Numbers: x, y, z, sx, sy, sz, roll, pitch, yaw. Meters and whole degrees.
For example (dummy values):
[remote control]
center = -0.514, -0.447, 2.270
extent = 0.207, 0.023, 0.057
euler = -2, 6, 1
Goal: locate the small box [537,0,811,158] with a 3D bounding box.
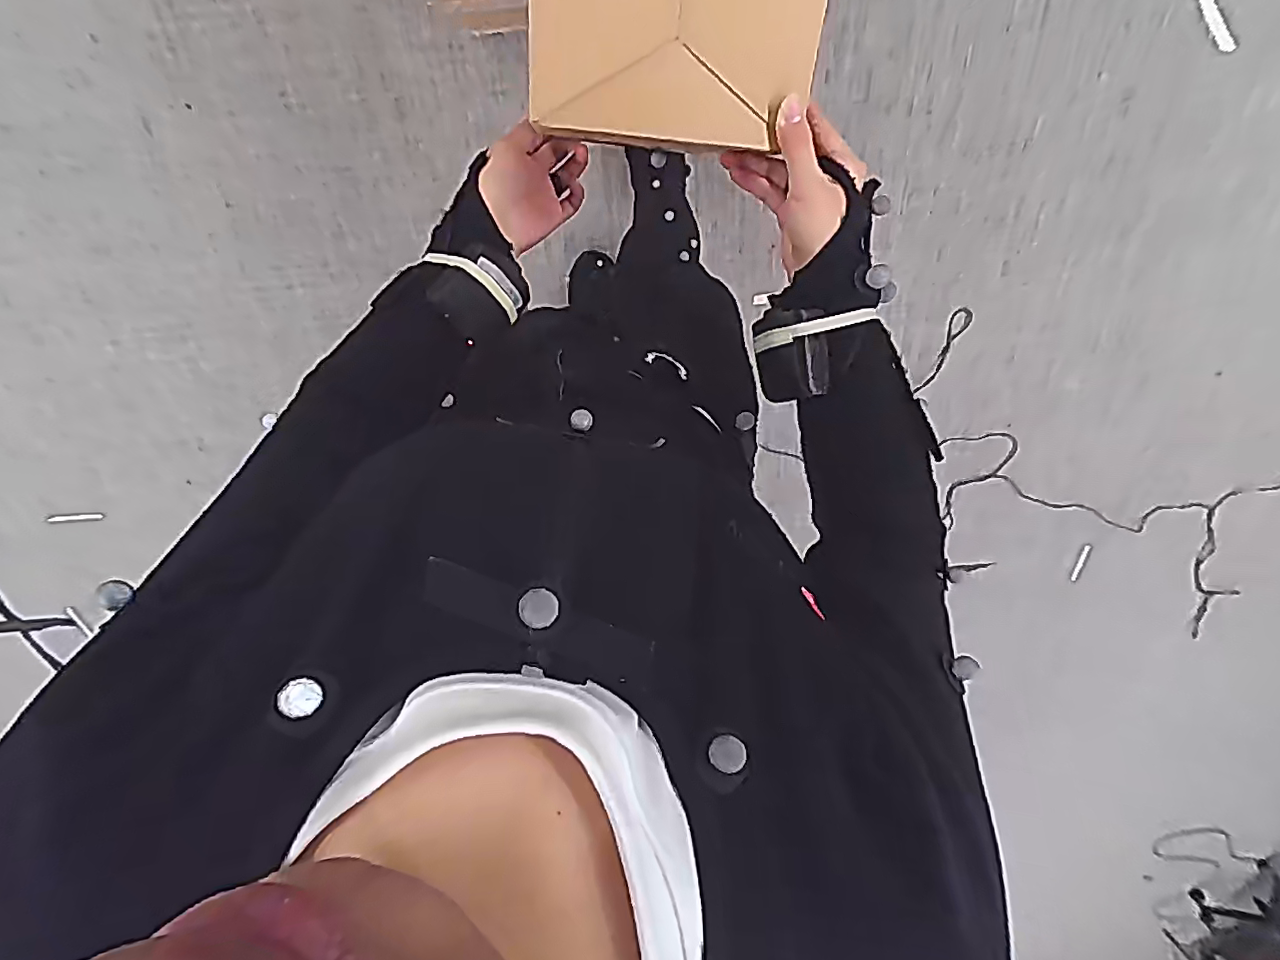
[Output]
[small box]
center = 0.018, -0.333, 0.388
extent = 0.179, 0.176, 0.168
euler = 1, 119, -9
